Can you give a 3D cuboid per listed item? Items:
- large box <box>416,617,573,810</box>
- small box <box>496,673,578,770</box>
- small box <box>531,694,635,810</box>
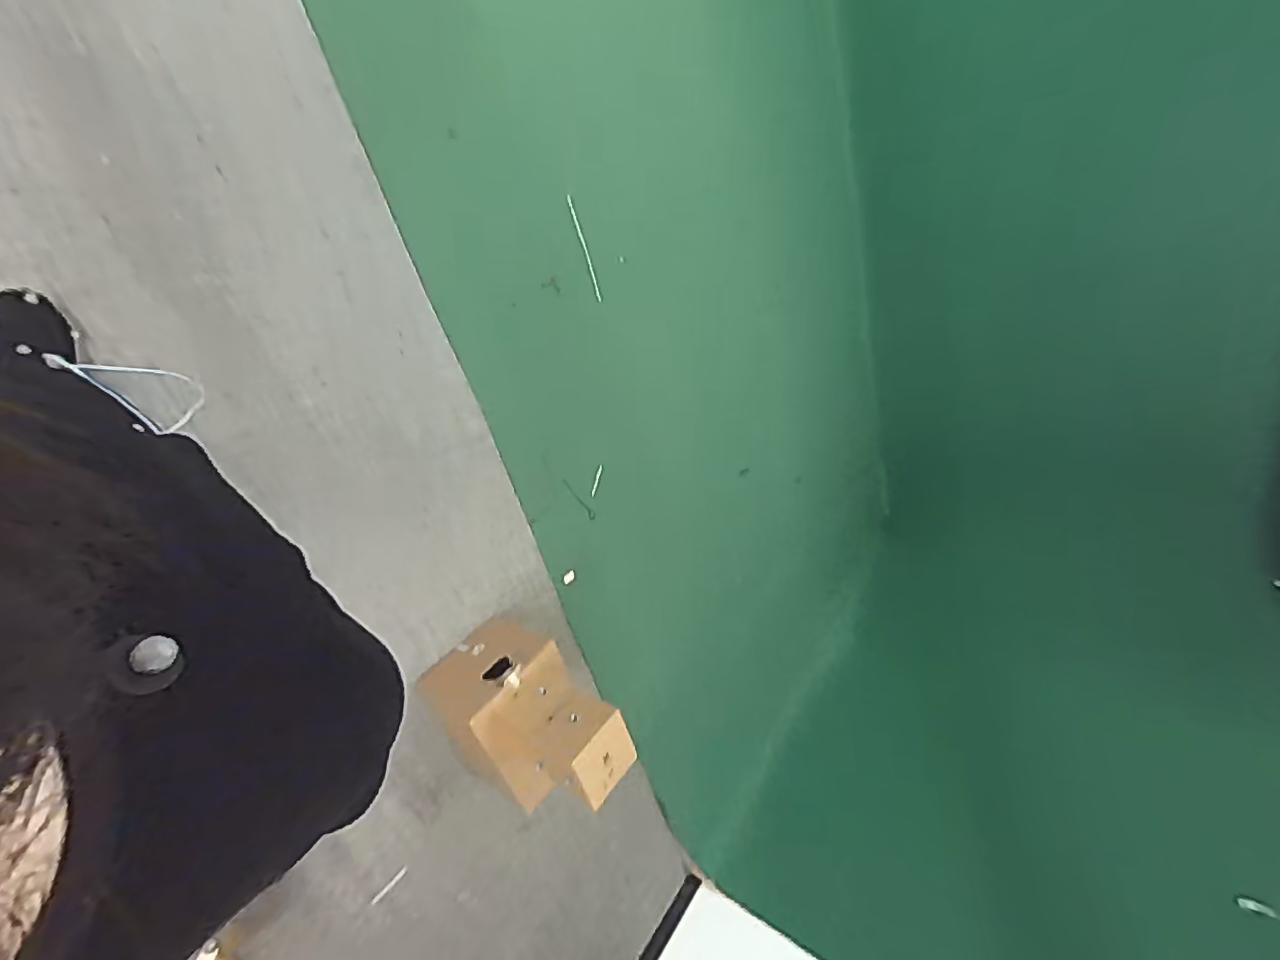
[{"bbox_3d":[-0.407,0.700,1.669,0.320,0.320,0.408,-40,122,-38],"label":"large box"},{"bbox_3d":[-0.260,0.648,1.462,0.168,0.176,0.179,-37,121,-39],"label":"small box"},{"bbox_3d":[-0.144,0.662,1.345,0.168,0.176,0.179,-37,121,-38],"label":"small box"}]
